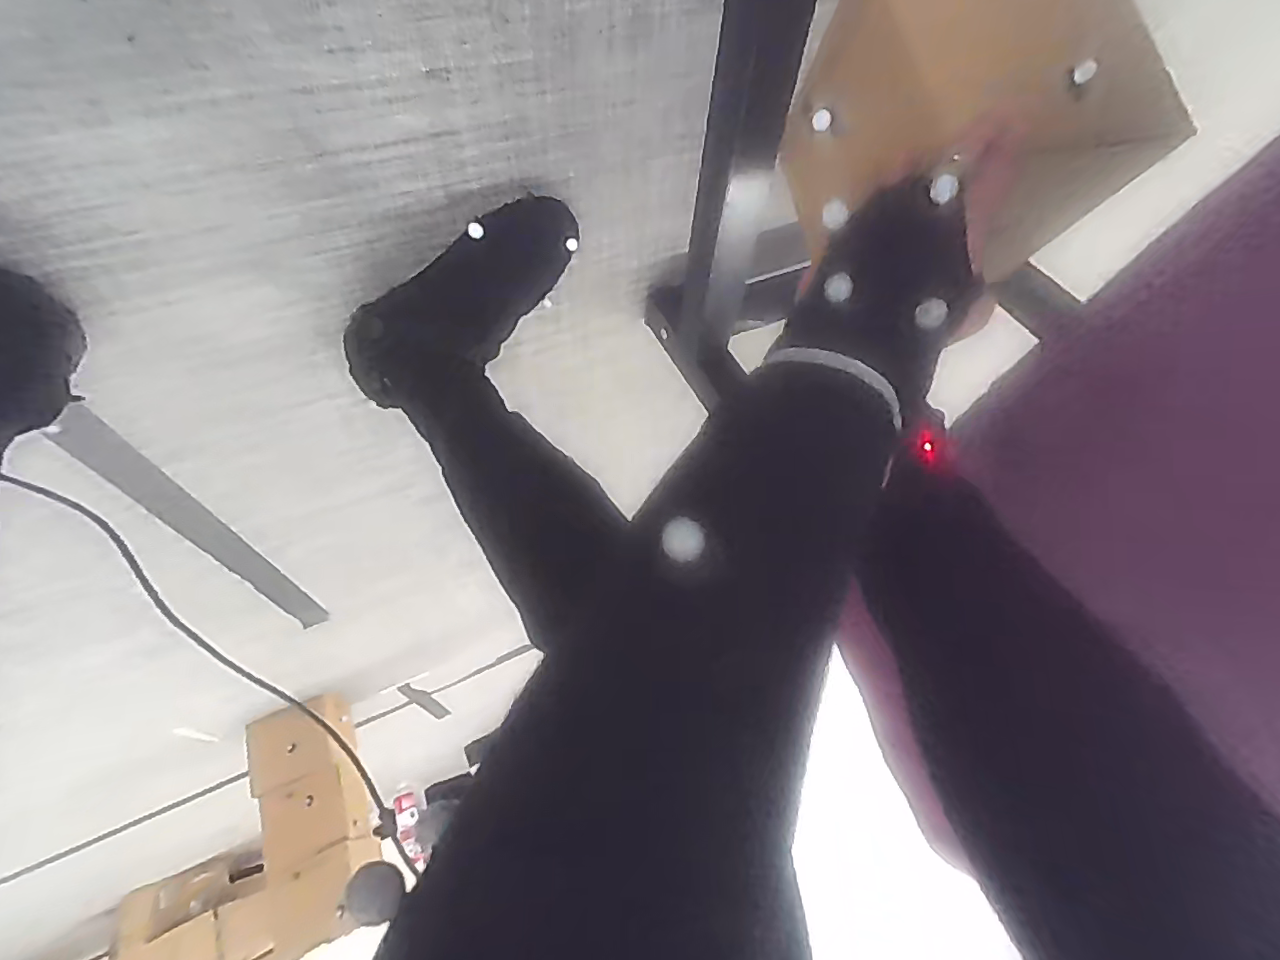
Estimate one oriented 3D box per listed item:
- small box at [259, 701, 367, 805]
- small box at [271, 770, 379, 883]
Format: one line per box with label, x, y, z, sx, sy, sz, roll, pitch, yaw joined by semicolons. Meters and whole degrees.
small box;-0.807;0.674;1.333;0.179;0.176;0.168;-22;151;-14
small box;-0.735;0.805;1.267;0.168;0.176;0.179;-19;149;-18
